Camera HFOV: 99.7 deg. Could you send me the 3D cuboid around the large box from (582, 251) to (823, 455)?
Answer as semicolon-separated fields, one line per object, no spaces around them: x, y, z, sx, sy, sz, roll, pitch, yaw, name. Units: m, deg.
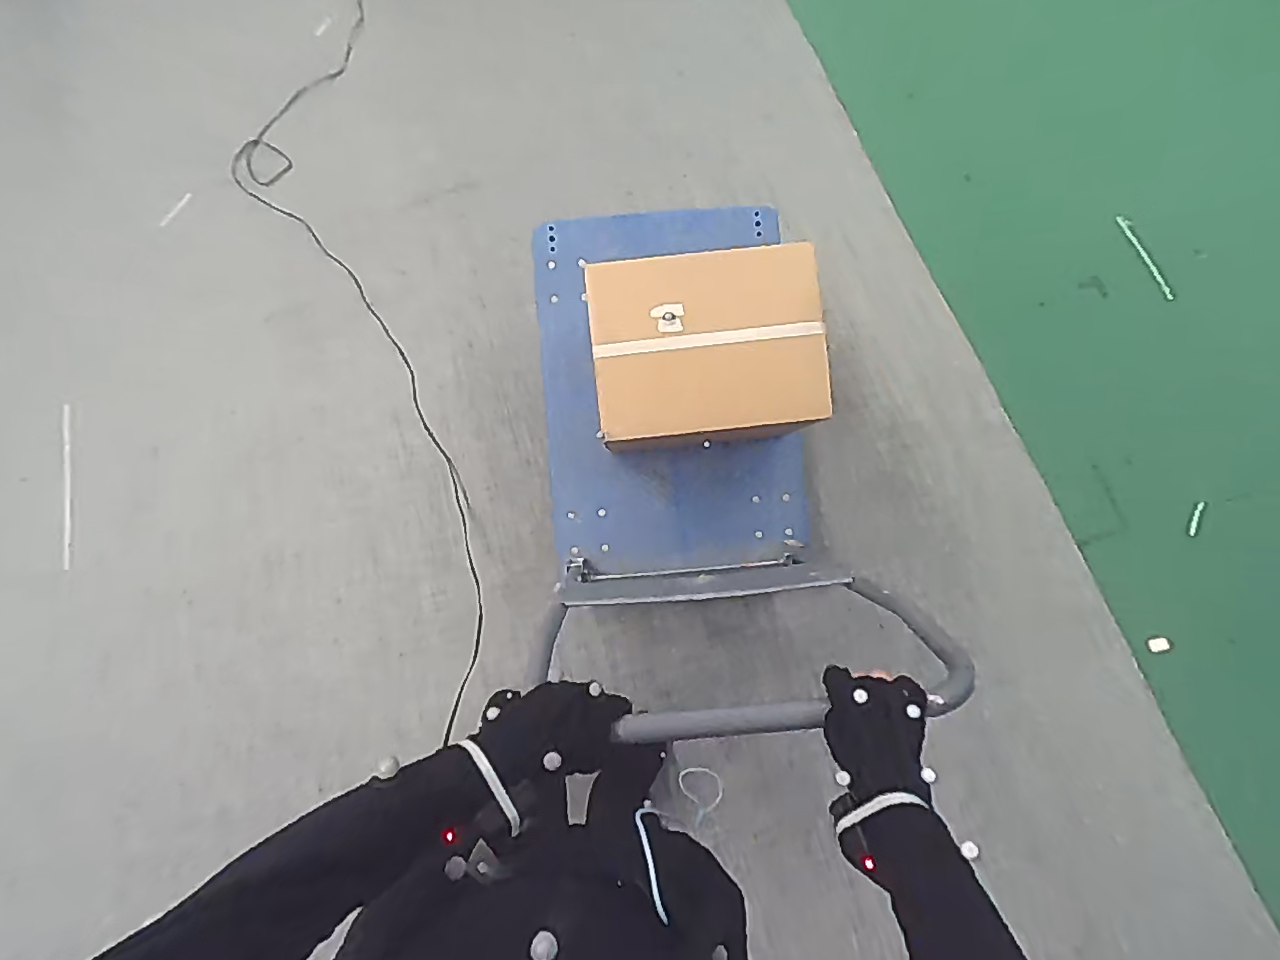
0.114;-0.230;1.108;0.408;0.320;0.320;-7;89;0;large box
